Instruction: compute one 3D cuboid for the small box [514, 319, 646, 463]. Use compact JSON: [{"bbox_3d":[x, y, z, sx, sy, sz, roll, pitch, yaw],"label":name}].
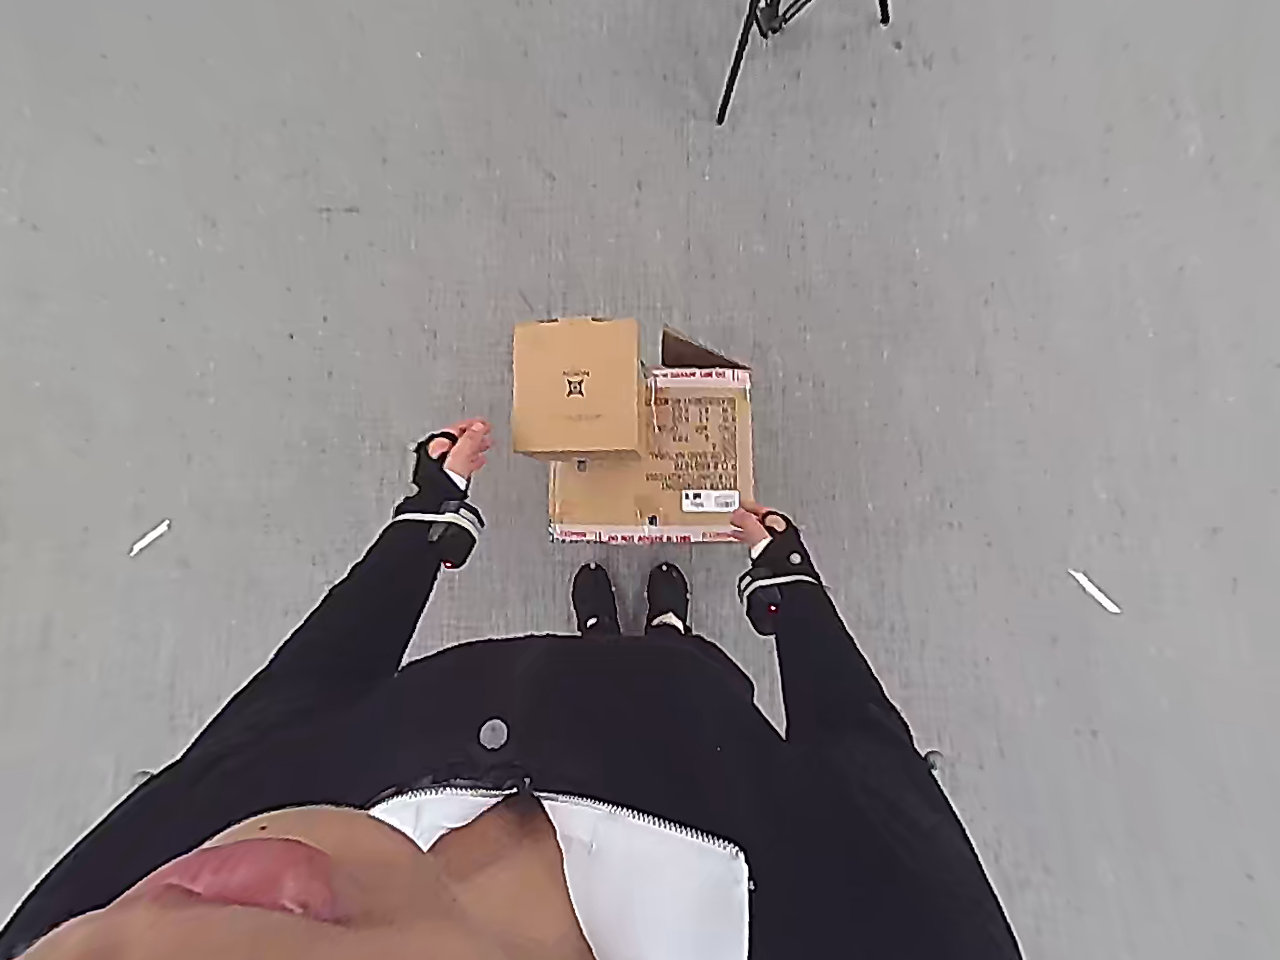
[{"bbox_3d":[-0.079,-0.119,0.783,0.168,0.176,0.179,-1,88,4],"label":"small box"}]
